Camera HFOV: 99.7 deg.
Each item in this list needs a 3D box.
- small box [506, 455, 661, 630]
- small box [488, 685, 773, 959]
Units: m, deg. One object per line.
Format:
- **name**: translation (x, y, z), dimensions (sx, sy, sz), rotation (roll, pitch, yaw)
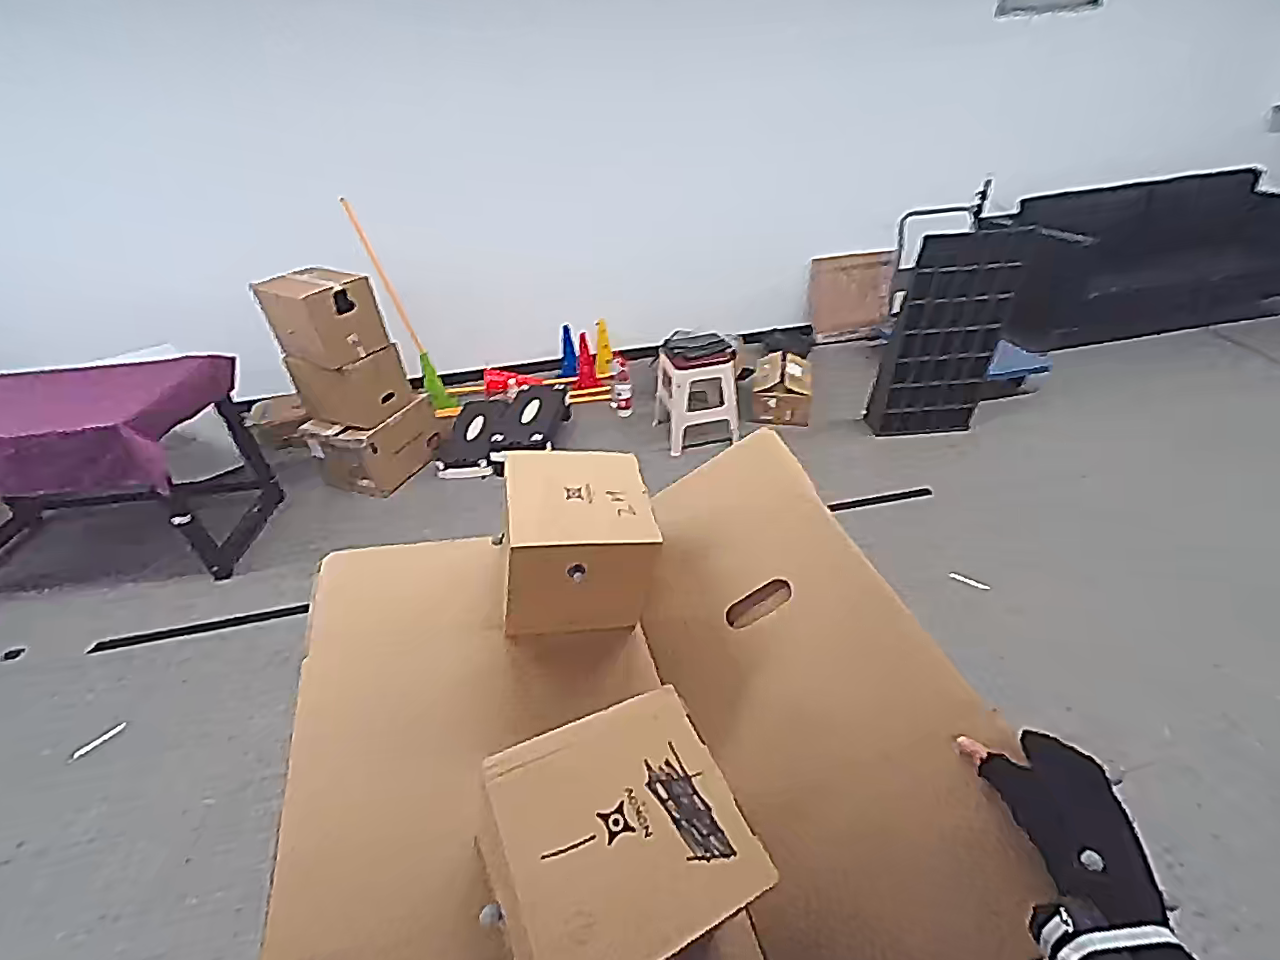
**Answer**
- **small box**: translation (-0.087, 0.084, 0.720), dimensions (0.179, 0.176, 0.168), rotation (1, 41, -17)
- **small box**: translation (-0.024, 0.315, 0.466), dimensions (0.179, 0.176, 0.168), rotation (-11, 46, -27)
